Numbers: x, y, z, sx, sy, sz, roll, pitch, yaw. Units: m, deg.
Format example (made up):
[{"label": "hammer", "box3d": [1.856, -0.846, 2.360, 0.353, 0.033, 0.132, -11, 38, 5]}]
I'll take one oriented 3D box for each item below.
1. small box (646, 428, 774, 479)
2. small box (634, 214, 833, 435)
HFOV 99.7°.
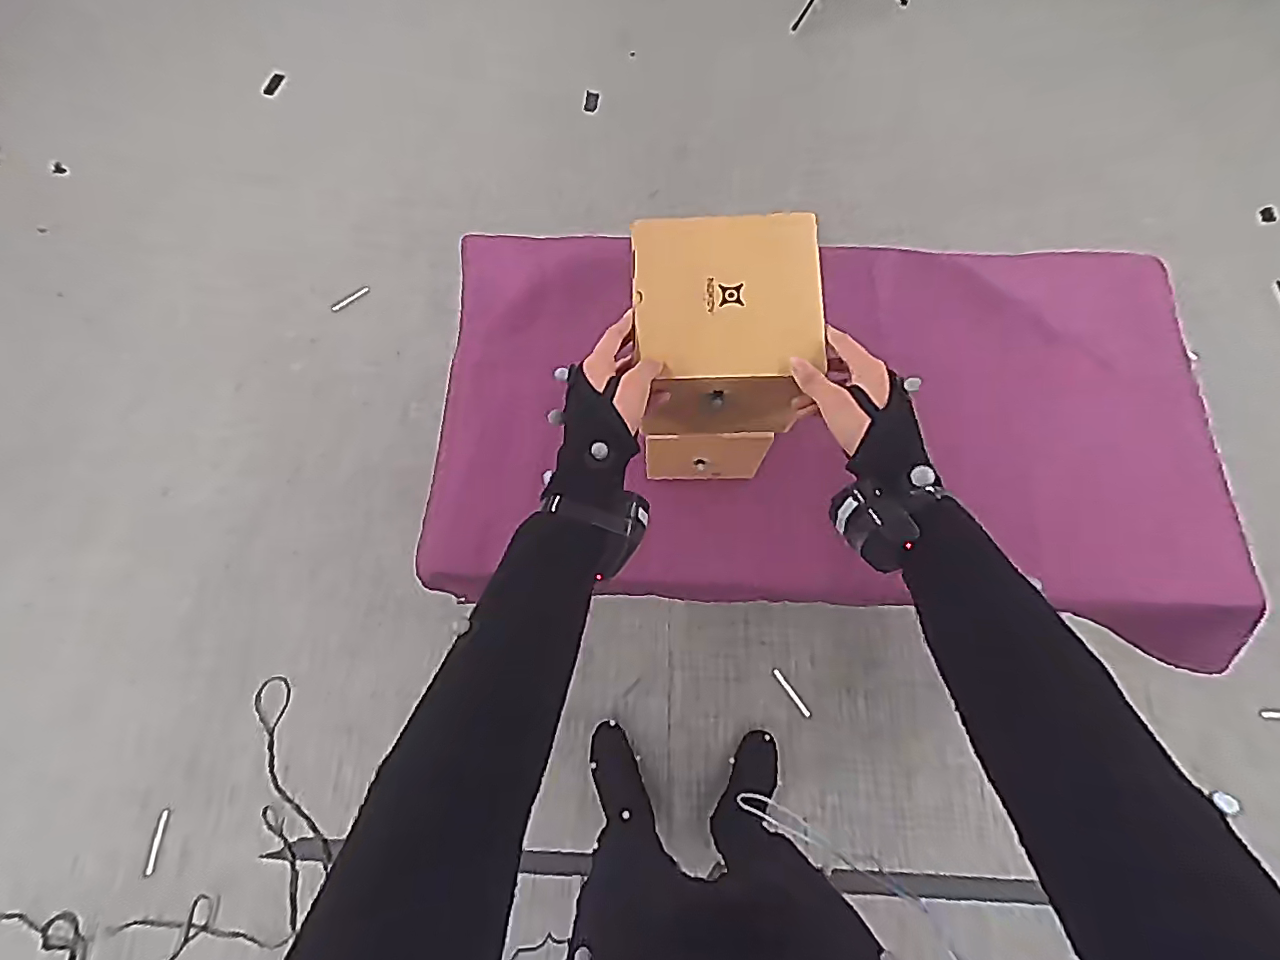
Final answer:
[{"label": "small box", "box3d": [0.093, -0.105, 0.787, 0.168, 0.176, 0.179, 0, 71, 1]}, {"label": "small box", "box3d": [0.087, -0.148, 0.566, 0.179, 0.176, 0.168, -1, 78, 4]}]
